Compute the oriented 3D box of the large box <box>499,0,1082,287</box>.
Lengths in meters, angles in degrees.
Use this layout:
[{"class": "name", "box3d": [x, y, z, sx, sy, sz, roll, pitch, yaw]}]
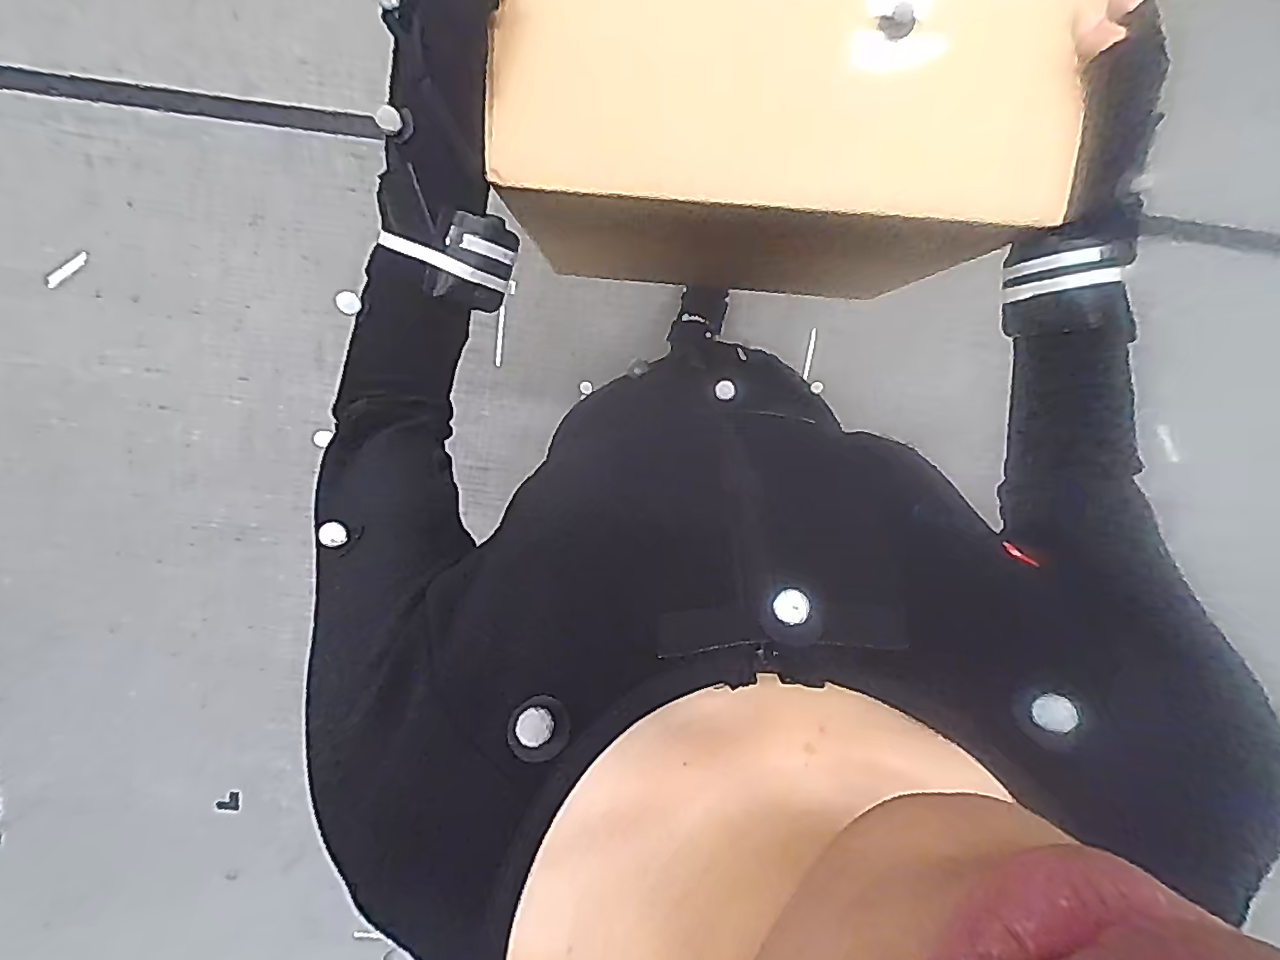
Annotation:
[{"class": "large box", "box3d": [0.101, -0.380, 0.510, 0.408, 0.320, 0.320, 4, 99, -1]}]
